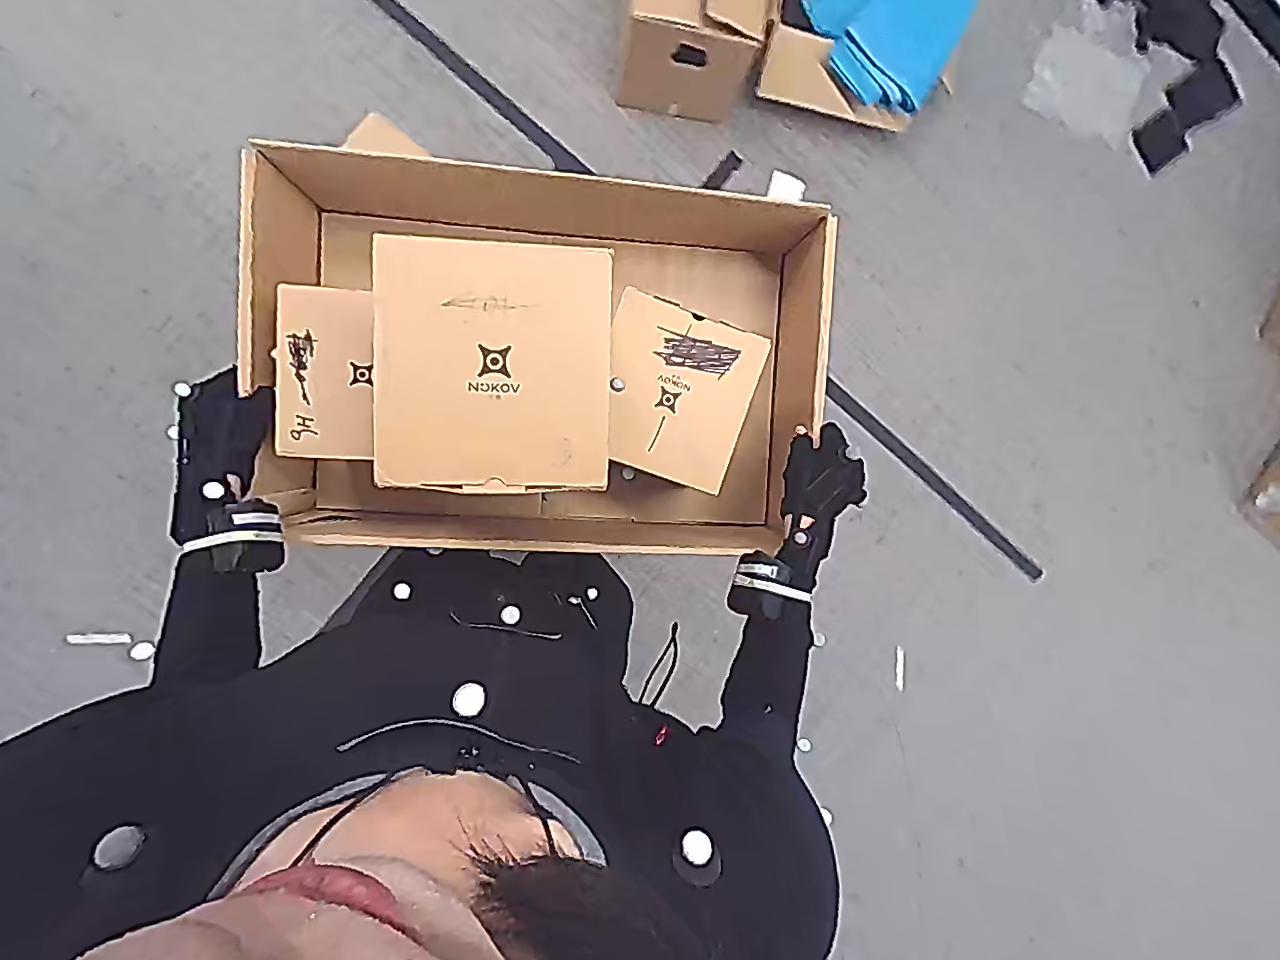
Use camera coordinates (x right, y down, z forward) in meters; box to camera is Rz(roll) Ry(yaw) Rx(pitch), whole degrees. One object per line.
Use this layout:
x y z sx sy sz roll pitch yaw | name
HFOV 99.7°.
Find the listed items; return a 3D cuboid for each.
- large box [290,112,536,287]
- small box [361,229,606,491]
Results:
-0.498 -0.540 1.289 0.408 0.320 0.320 37 87 -9 | large box
-0.114 -0.085 0.452 0.168 0.176 0.179 0 93 -7 | small box
